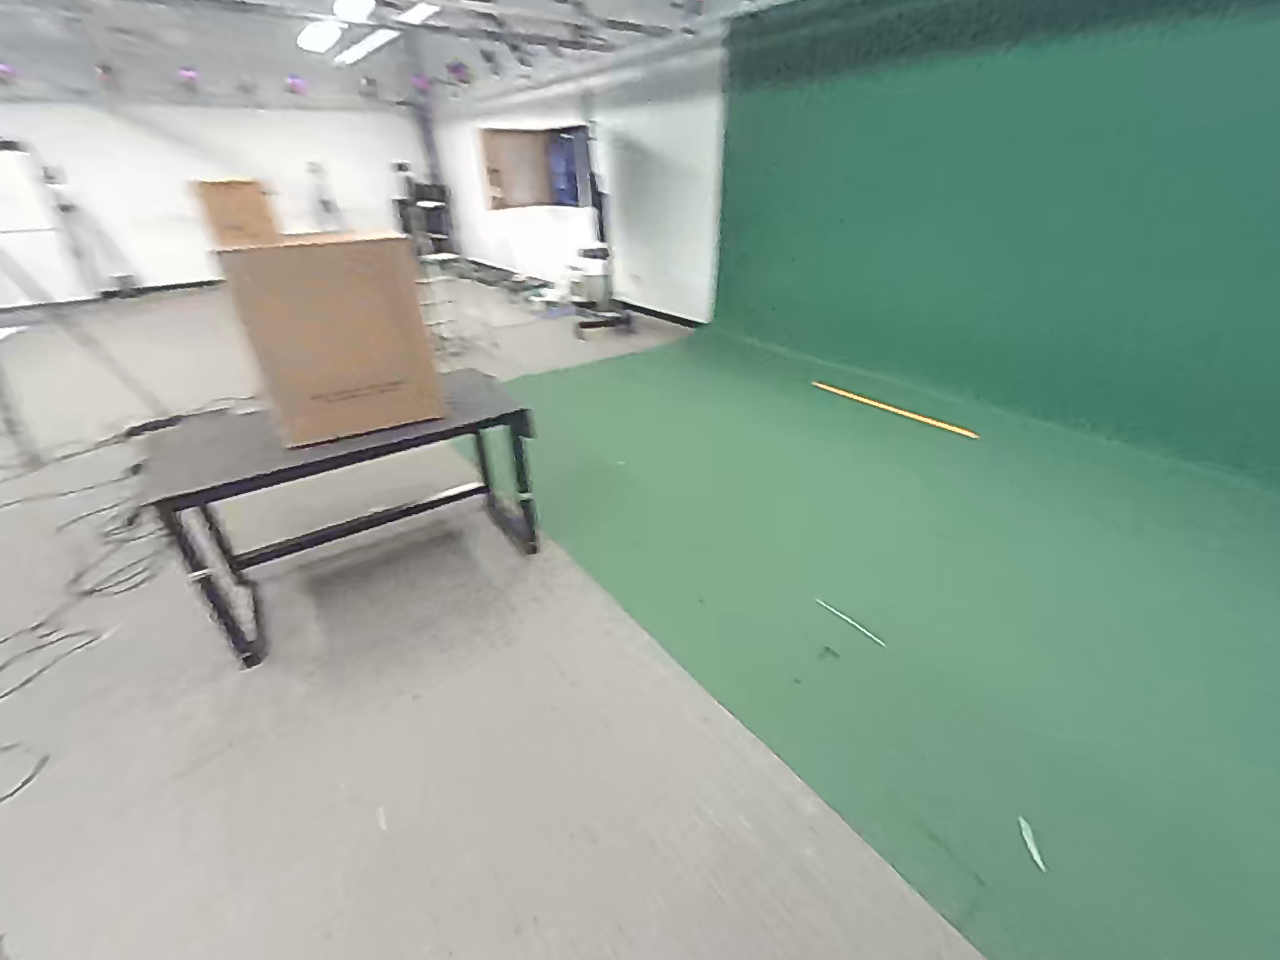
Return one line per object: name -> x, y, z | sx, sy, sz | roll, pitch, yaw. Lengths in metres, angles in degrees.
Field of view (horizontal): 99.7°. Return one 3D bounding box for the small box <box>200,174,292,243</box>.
small box -> -1.145, -0.798, 1.587 | 0.168, 0.176, 0.179 | -14, 36, -21
